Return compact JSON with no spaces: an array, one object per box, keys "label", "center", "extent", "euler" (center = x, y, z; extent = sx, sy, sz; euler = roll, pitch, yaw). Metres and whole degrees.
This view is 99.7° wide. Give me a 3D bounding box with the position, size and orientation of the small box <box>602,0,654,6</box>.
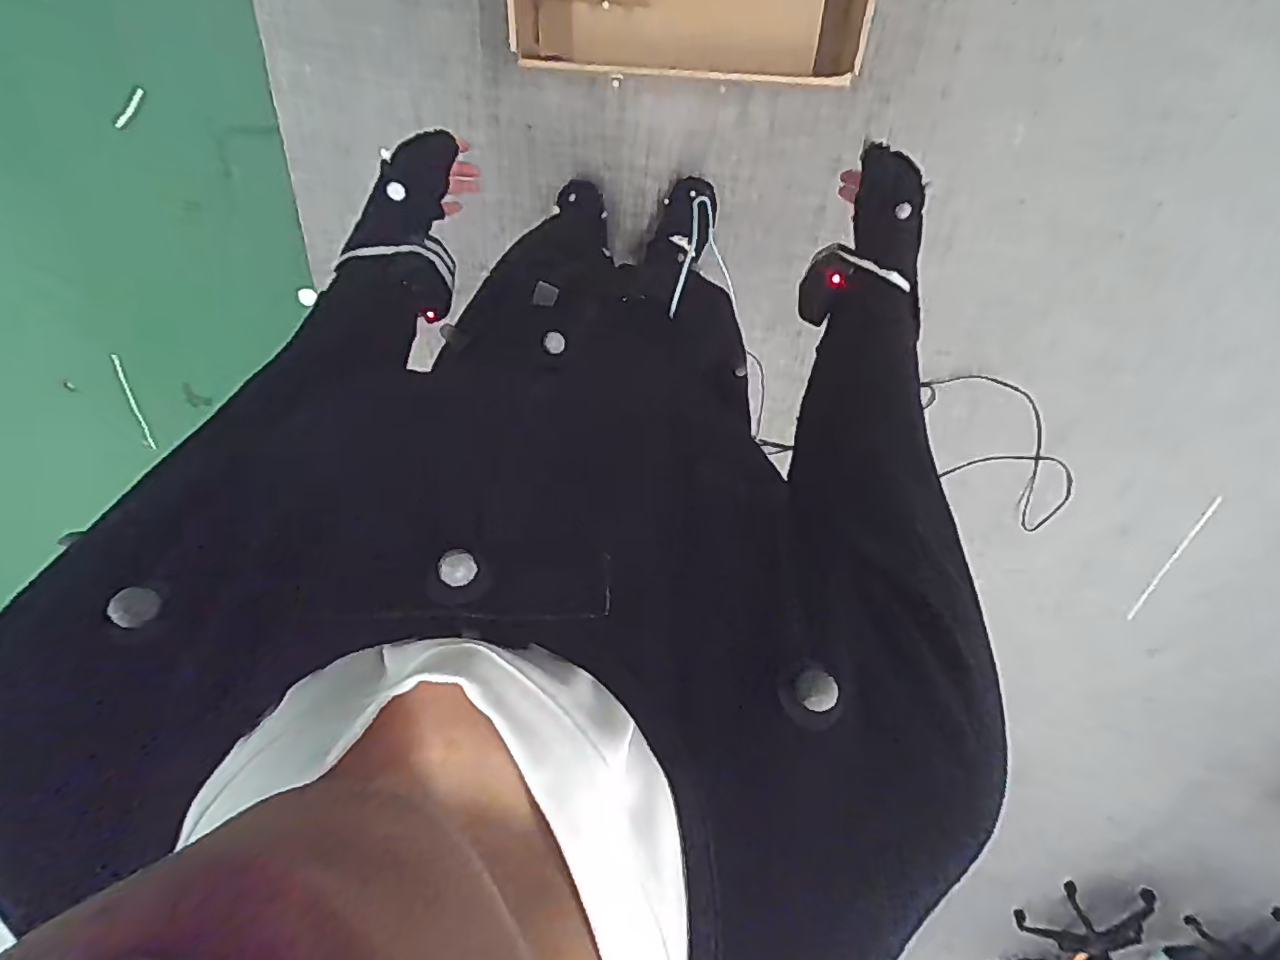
[{"label":"small box","center":[-0.048,-0.928,0.897],"extent":[0.168,0.176,0.179],"euler":[6,121,0]}]
